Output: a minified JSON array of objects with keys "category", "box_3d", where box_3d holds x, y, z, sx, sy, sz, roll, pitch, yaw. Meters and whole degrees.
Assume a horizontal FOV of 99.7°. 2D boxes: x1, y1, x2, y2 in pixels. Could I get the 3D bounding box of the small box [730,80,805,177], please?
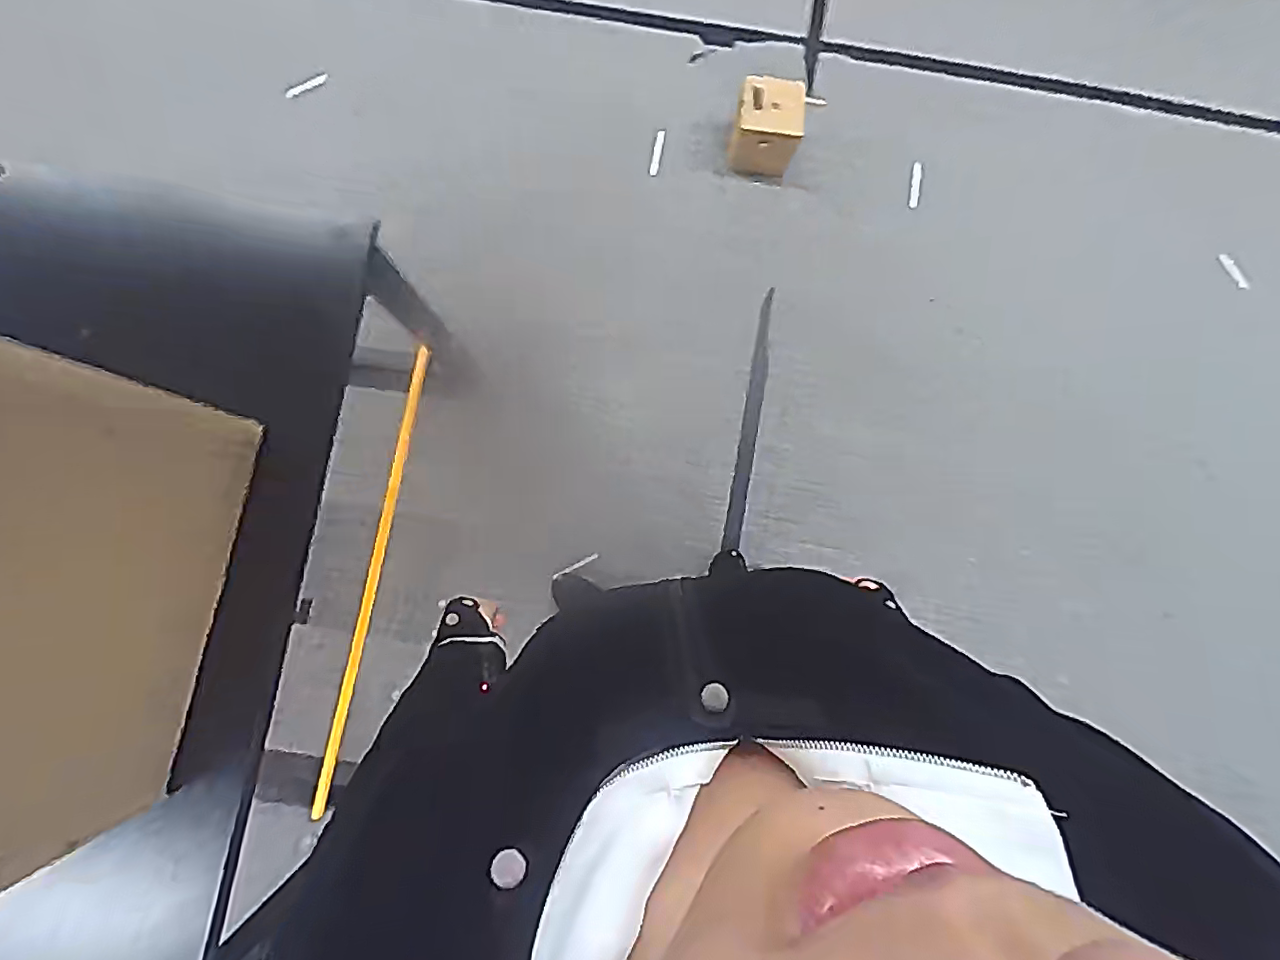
[{"category":"small box","box_3d":[0.364,-1.018,1.578,0.179,0.176,0.168,6,83,-2]}]
